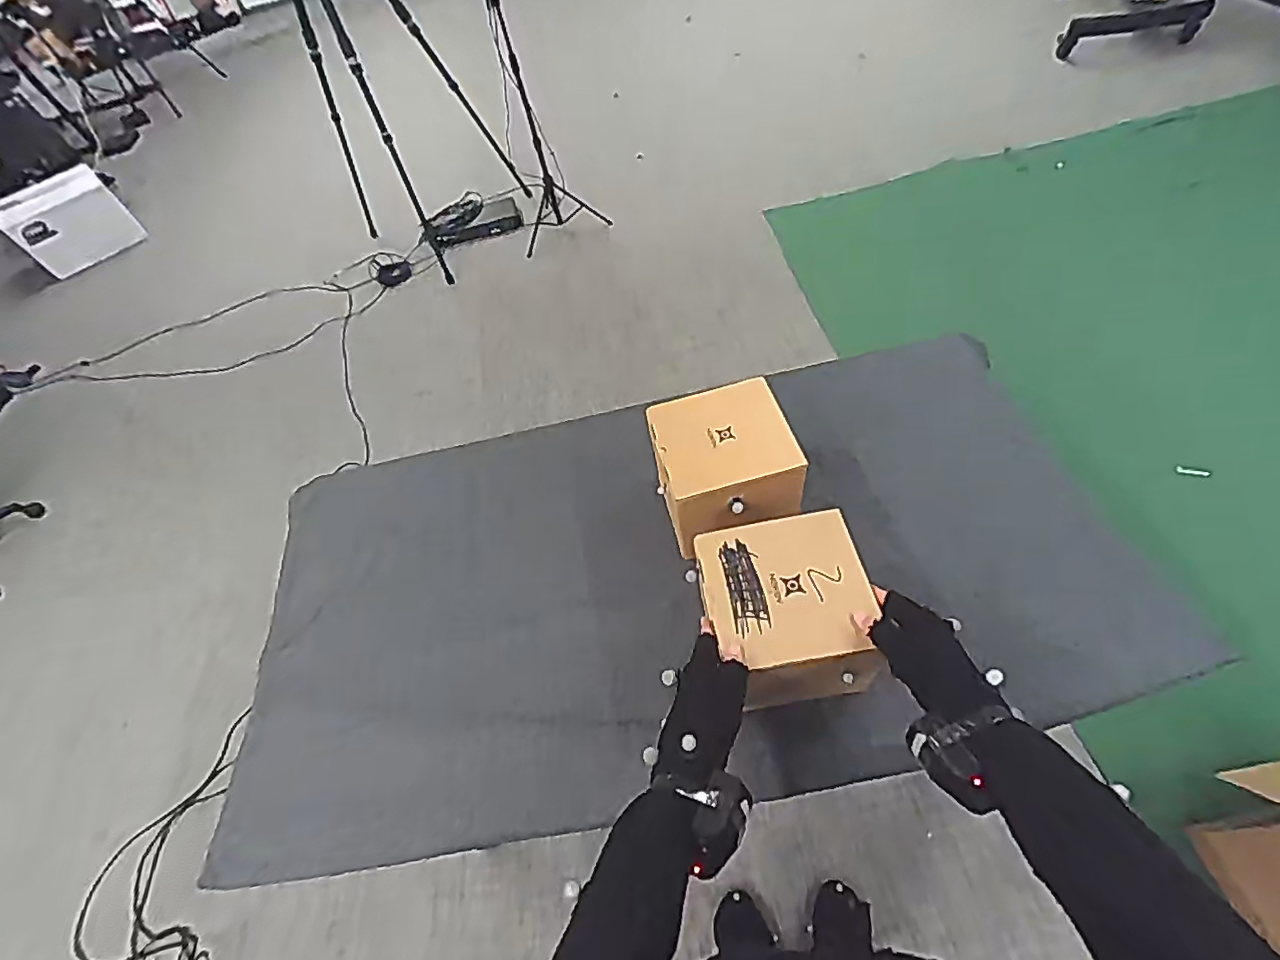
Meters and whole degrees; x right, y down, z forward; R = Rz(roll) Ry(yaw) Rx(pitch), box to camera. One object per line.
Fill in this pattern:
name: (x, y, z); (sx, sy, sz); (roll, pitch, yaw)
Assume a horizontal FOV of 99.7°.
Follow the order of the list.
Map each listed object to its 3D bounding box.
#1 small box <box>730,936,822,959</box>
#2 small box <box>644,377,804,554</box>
small box: (0.261, 0.977, 0.997); (0.168, 0.176, 0.179); (4, 58, 0)
small box: (0.117, -0.015, 0.781); (0.179, 0.176, 0.168); (-16, 55, 1)
